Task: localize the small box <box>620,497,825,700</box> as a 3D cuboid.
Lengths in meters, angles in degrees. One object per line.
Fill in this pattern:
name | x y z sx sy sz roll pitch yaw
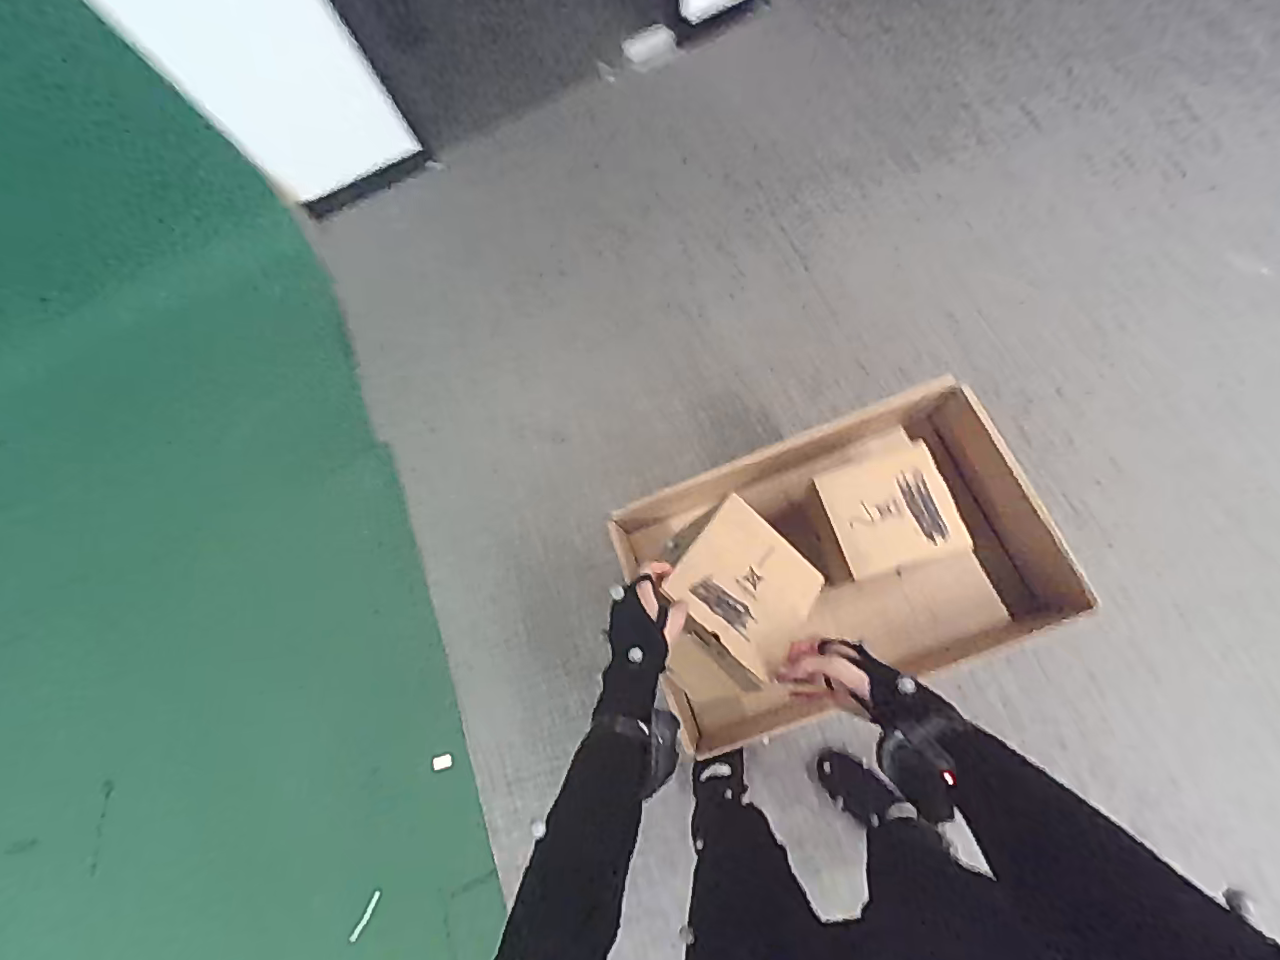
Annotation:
small box | 0.095 0.160 0.694 0.168 0.176 0.179 43 56 -1
